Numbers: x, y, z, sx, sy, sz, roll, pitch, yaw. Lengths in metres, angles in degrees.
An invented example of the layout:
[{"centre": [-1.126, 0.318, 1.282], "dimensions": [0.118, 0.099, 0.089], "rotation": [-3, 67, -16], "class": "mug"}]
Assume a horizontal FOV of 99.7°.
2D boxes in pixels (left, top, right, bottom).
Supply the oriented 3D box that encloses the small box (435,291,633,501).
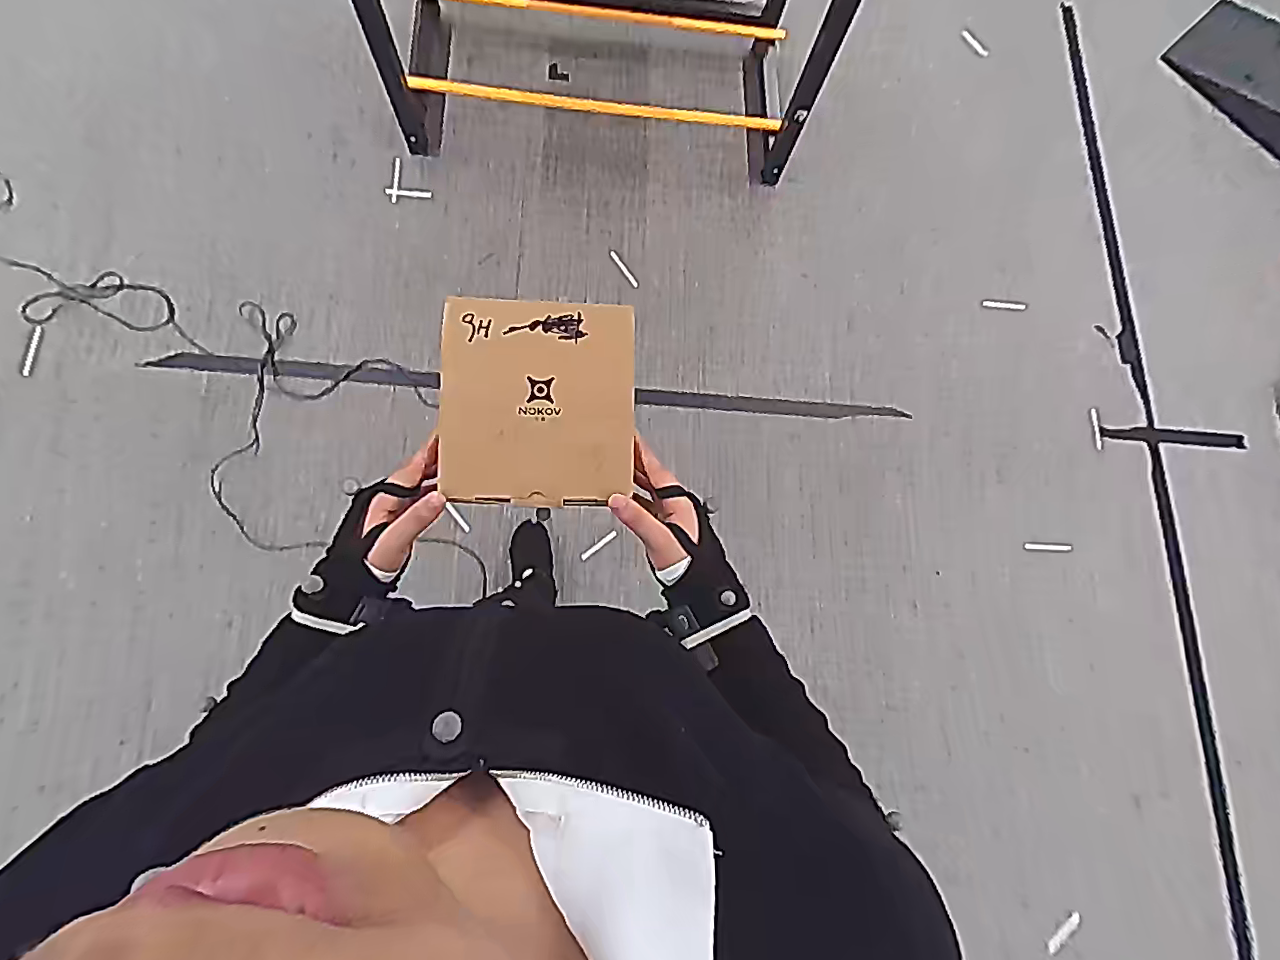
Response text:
[{"centre": [-0.096, -0.069, 0.540], "dimensions": [0.168, 0.176, 0.179], "rotation": [1, 87, -5], "class": "small box"}]
